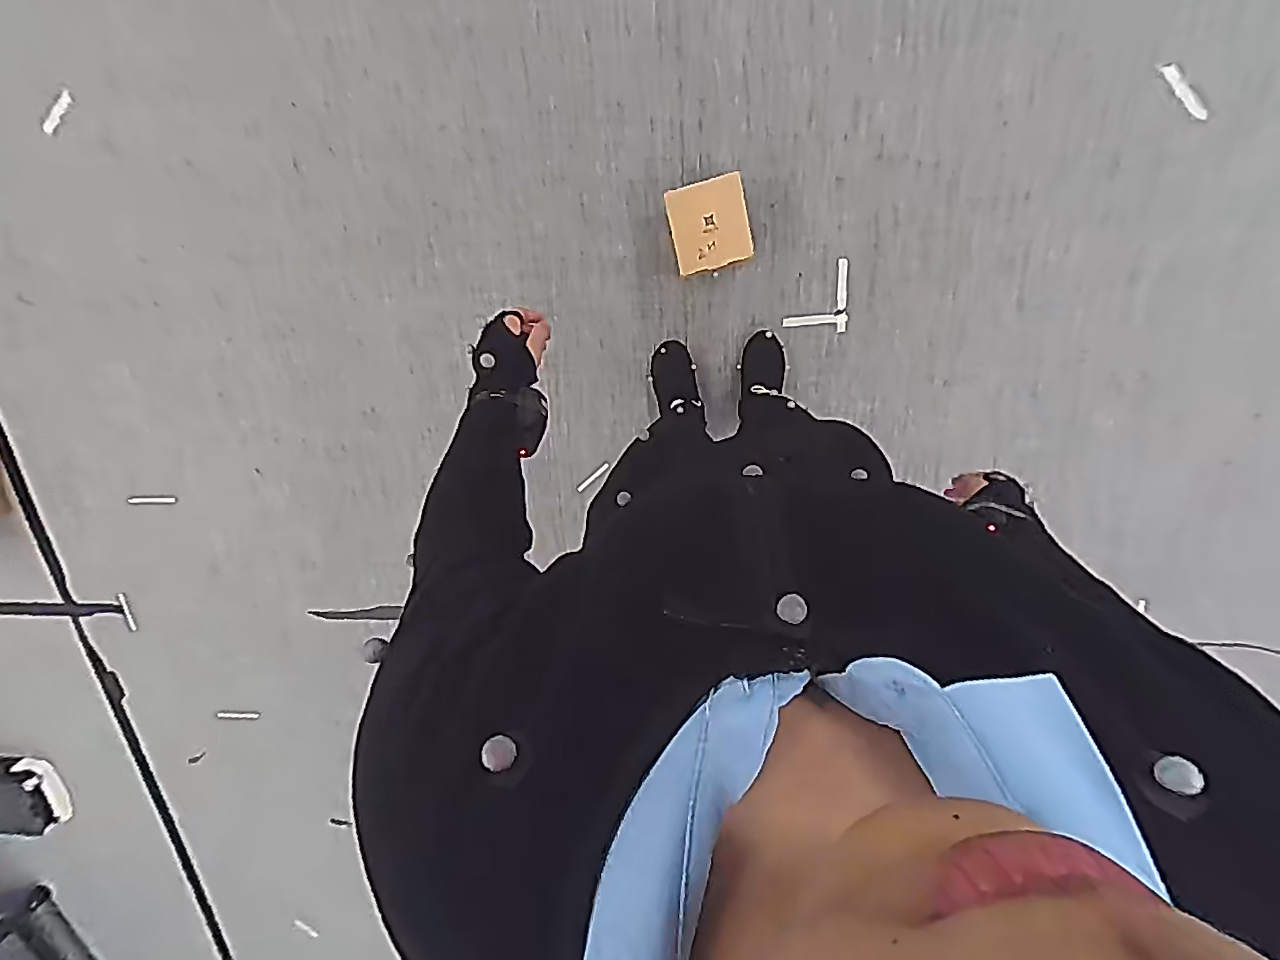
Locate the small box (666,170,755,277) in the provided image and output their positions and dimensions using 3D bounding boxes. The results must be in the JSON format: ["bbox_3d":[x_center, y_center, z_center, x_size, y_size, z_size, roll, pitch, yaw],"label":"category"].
[{"bbox_3d":[0.156,-0.573,1.232,0.168,0.176,0.179,-12,107,8],"label":"small box"}]
